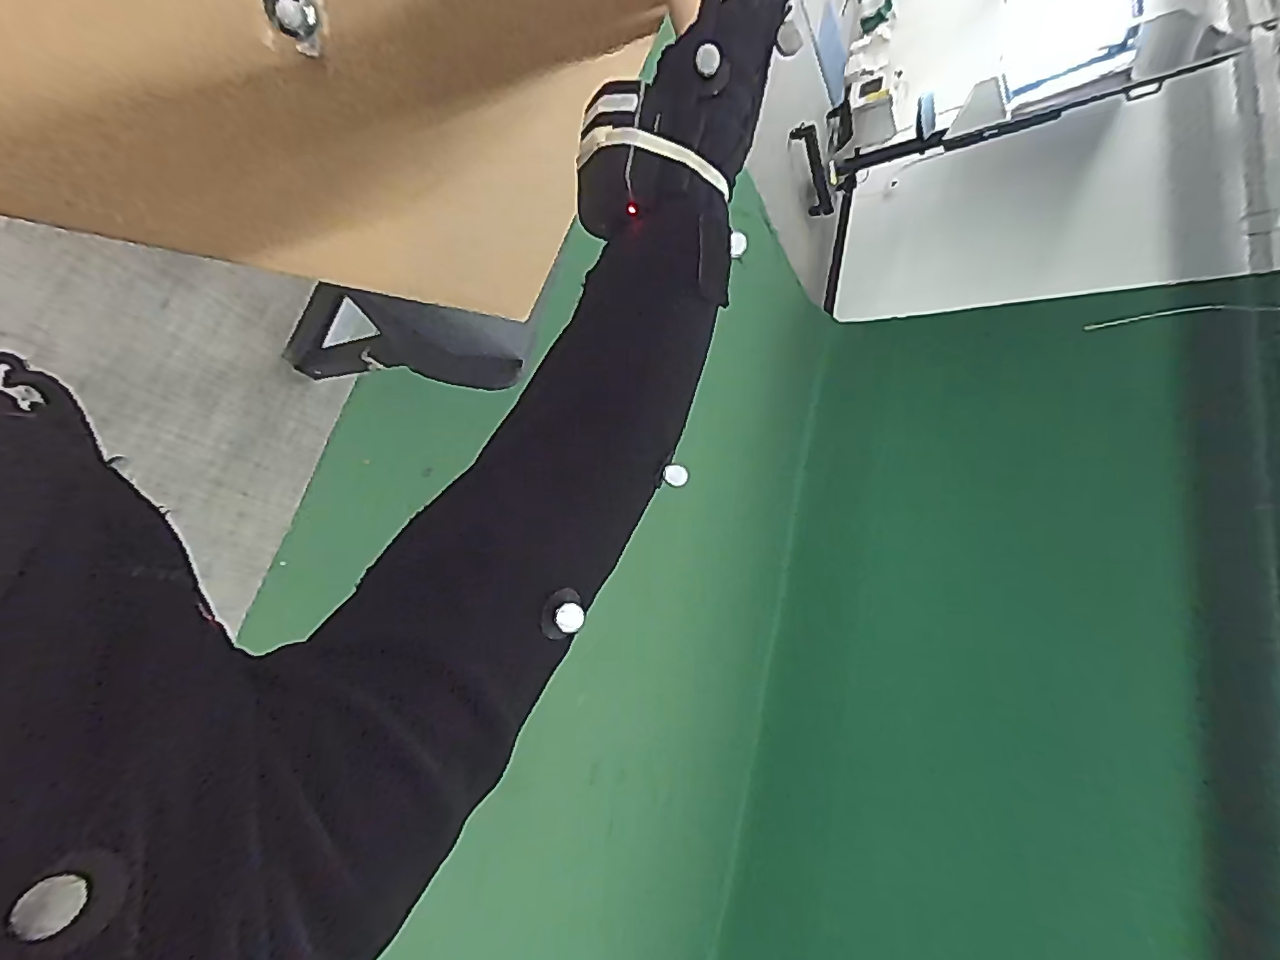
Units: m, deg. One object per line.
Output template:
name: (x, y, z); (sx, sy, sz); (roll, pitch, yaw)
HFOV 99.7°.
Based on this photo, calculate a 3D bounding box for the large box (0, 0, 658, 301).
large box: (-0.247, -0.351, 0.334); (0.408, 0.320, 0.320); (-6, 141, -45)
